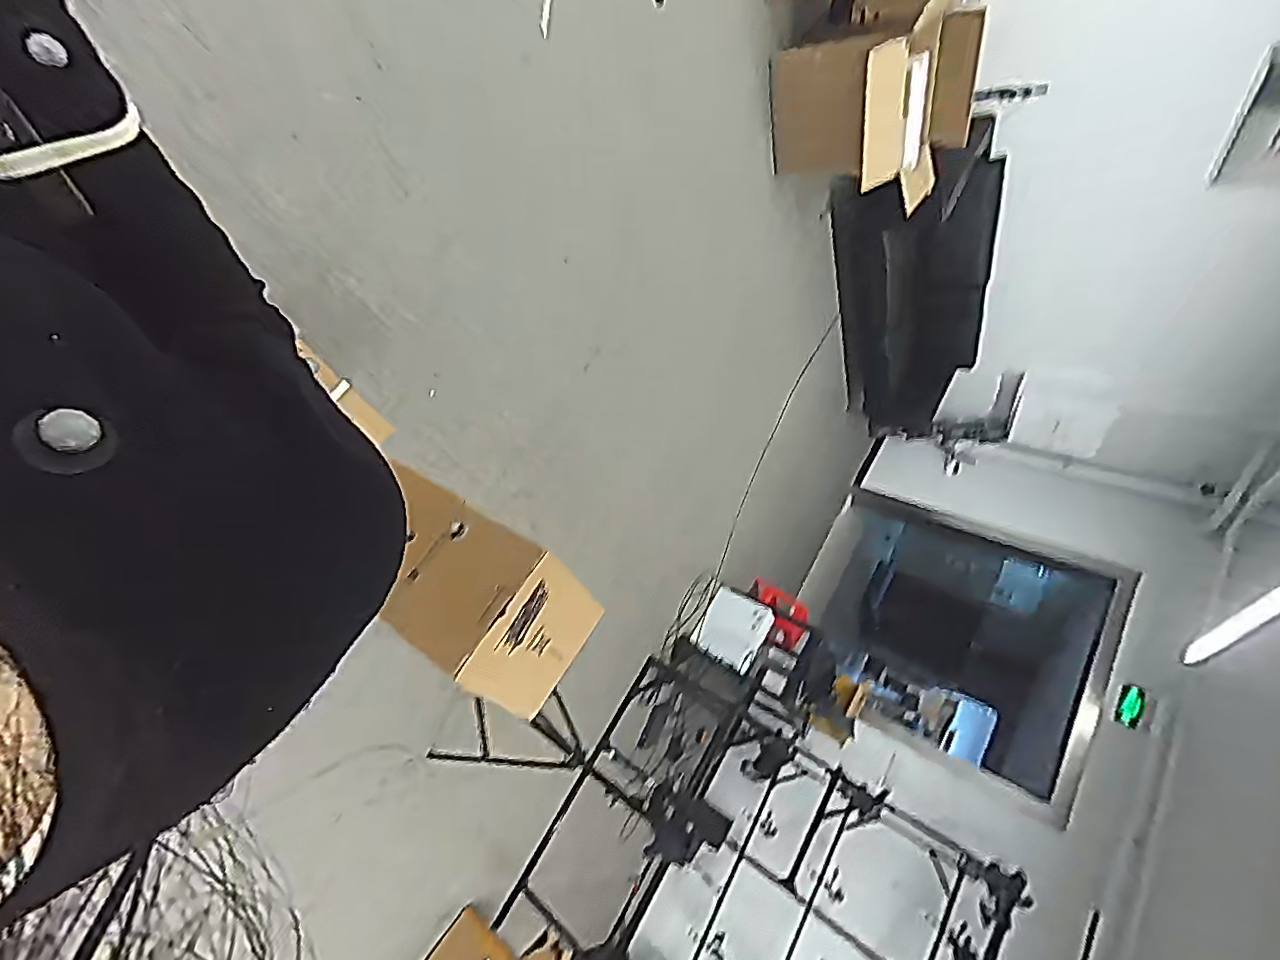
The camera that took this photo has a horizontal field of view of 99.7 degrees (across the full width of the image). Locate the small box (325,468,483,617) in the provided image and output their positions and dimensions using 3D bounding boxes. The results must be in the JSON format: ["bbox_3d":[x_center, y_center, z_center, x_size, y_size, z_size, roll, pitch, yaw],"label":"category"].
[{"bbox_3d":[-0.314,0.111,0.778,0.179,0.176,0.168,-54,143,-21],"label":"small box"}]

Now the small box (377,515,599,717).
[{"bbox_3d":[-0.188,0.163,0.687,0.168,0.176,0.179,-54,144,-21],"label":"small box"}]
